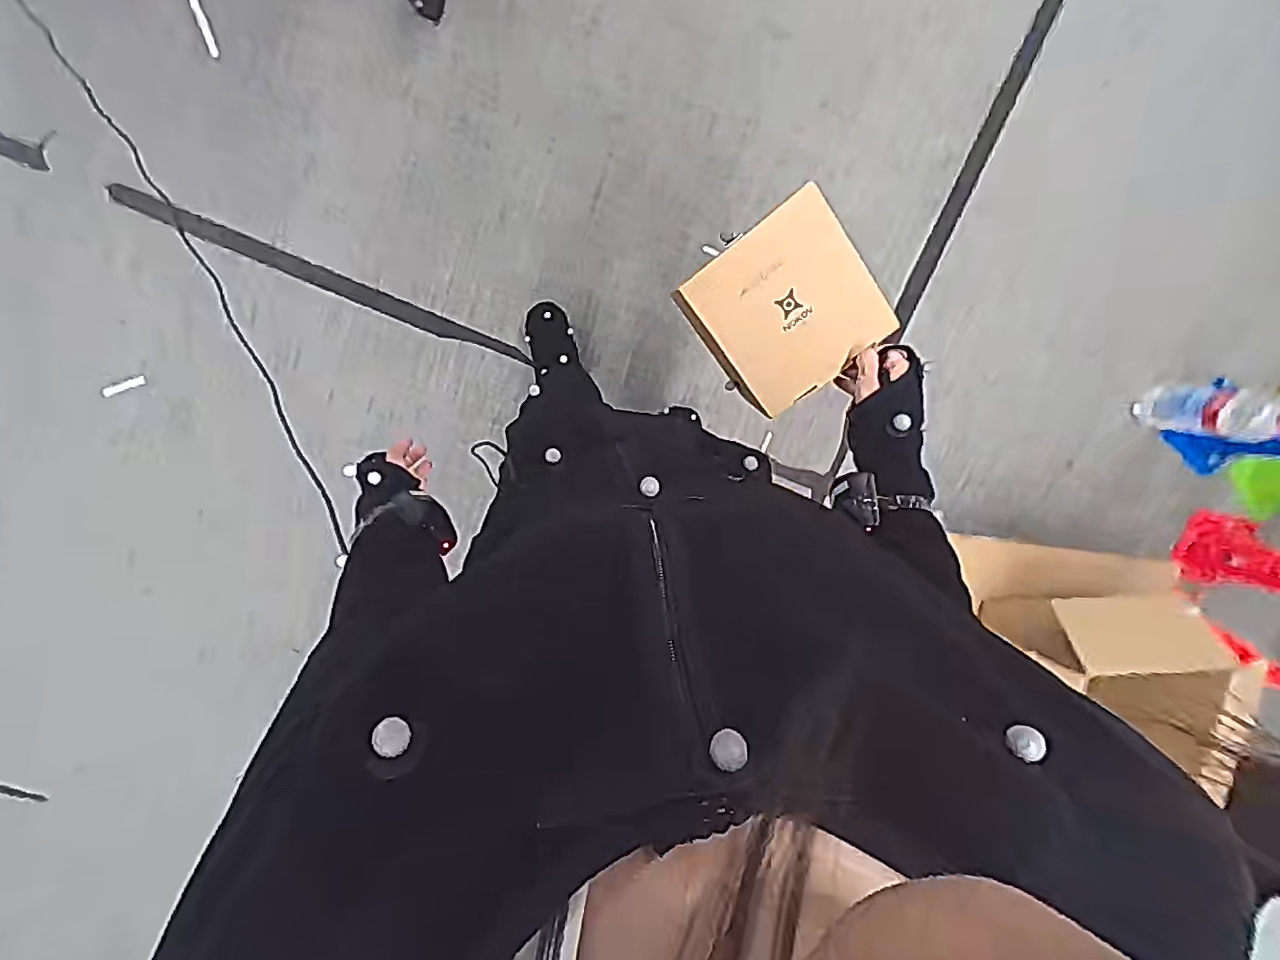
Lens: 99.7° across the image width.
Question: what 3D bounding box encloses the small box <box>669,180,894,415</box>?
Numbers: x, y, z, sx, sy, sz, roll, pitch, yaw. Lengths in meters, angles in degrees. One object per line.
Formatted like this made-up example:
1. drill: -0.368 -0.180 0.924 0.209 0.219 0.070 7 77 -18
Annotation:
1. small box: 0.150 -0.205 0.632 0.168 0.176 0.179 -38 103 10
